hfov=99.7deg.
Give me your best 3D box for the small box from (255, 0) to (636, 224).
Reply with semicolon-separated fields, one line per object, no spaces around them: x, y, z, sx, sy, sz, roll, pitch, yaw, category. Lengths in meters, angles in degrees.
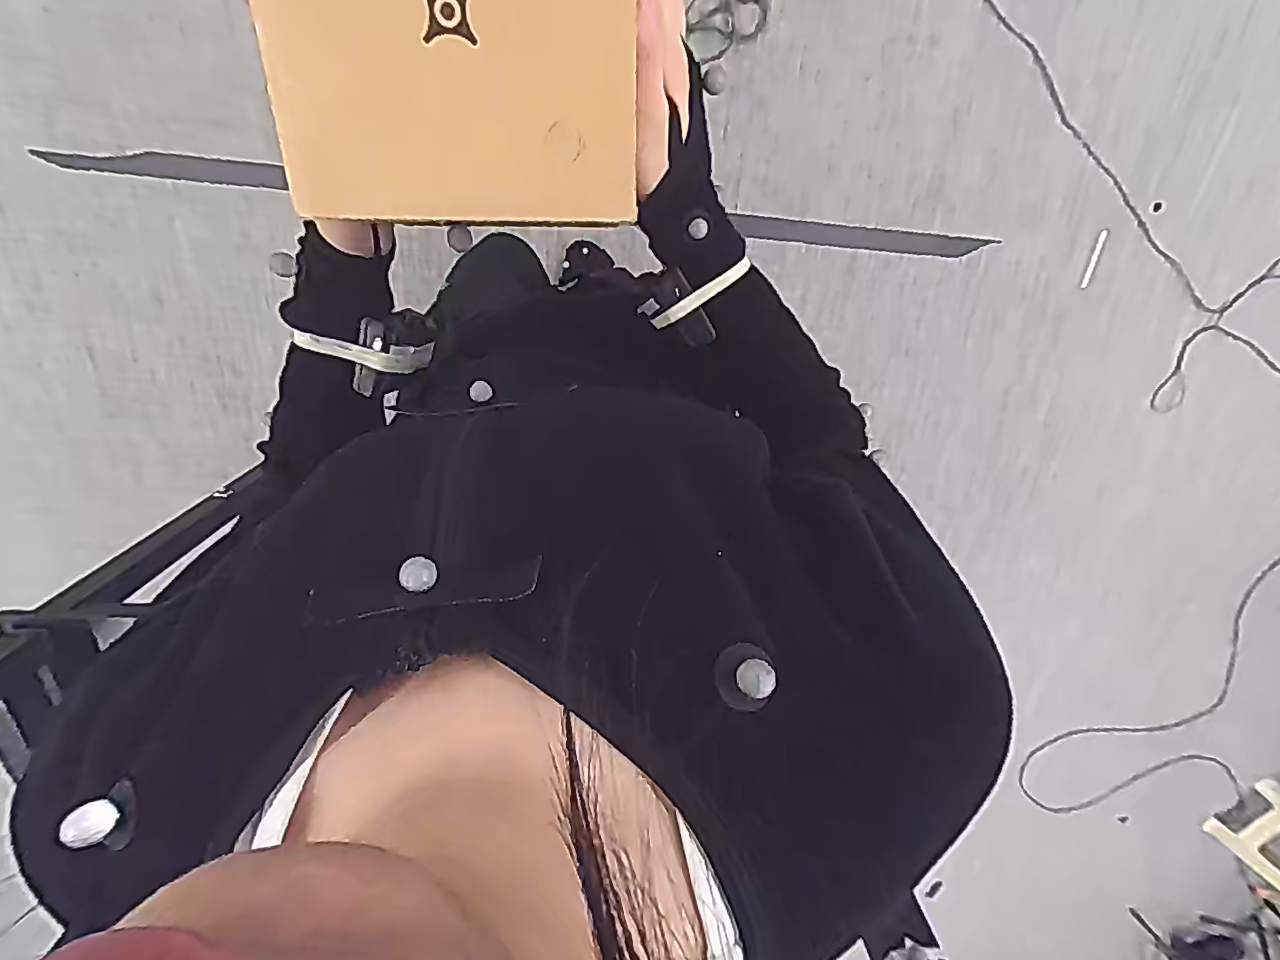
-0.087;-0.244;0.305;0.168;0.176;0.179;-1;113;-4;small box
